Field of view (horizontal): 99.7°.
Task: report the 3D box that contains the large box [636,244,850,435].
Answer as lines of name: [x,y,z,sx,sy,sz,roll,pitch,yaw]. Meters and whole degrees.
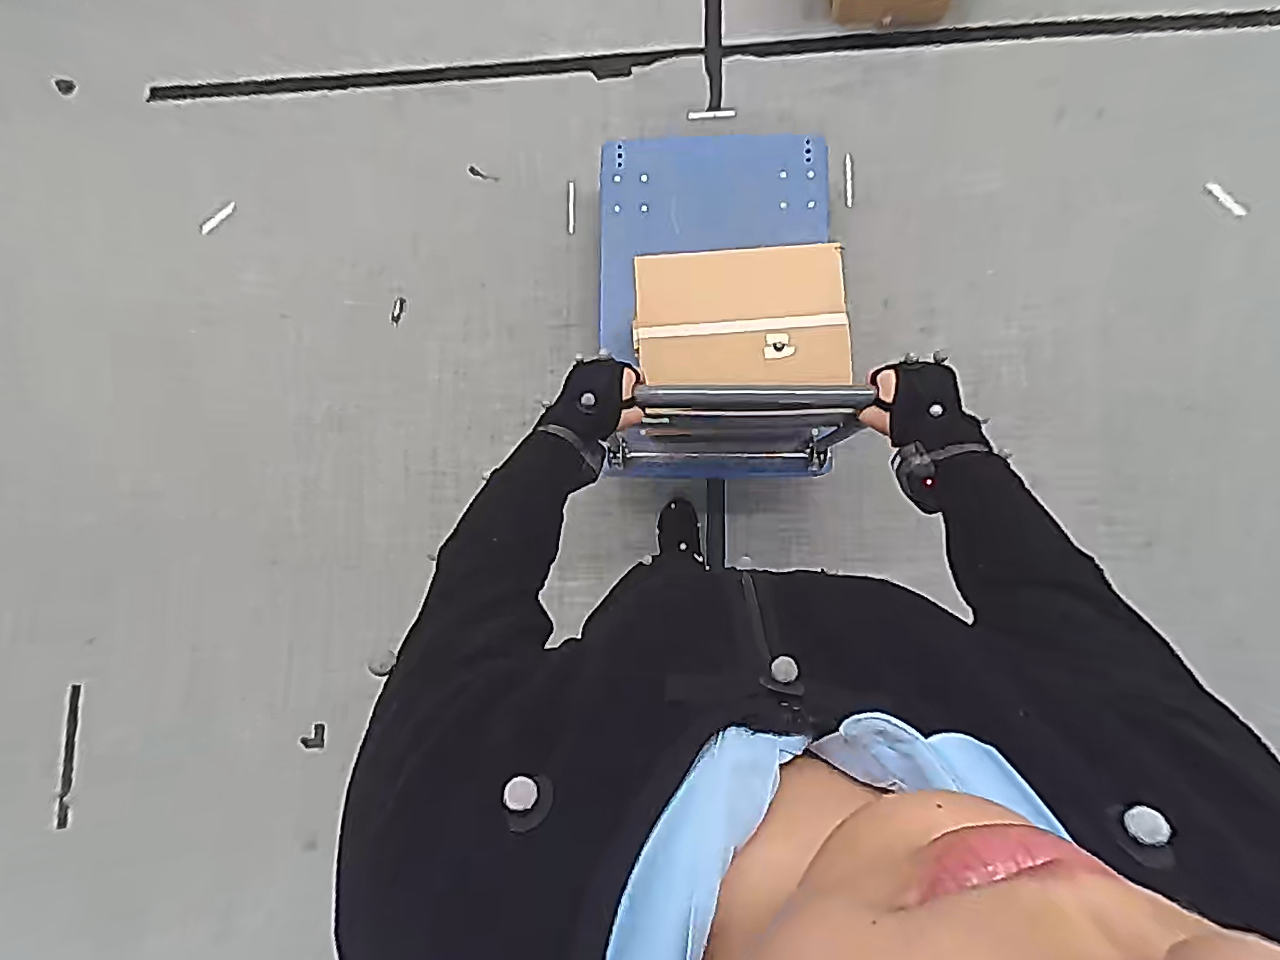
large box: [0.203,-0.290,1.209,0.408,0.320,0.320,-3,86,1]
